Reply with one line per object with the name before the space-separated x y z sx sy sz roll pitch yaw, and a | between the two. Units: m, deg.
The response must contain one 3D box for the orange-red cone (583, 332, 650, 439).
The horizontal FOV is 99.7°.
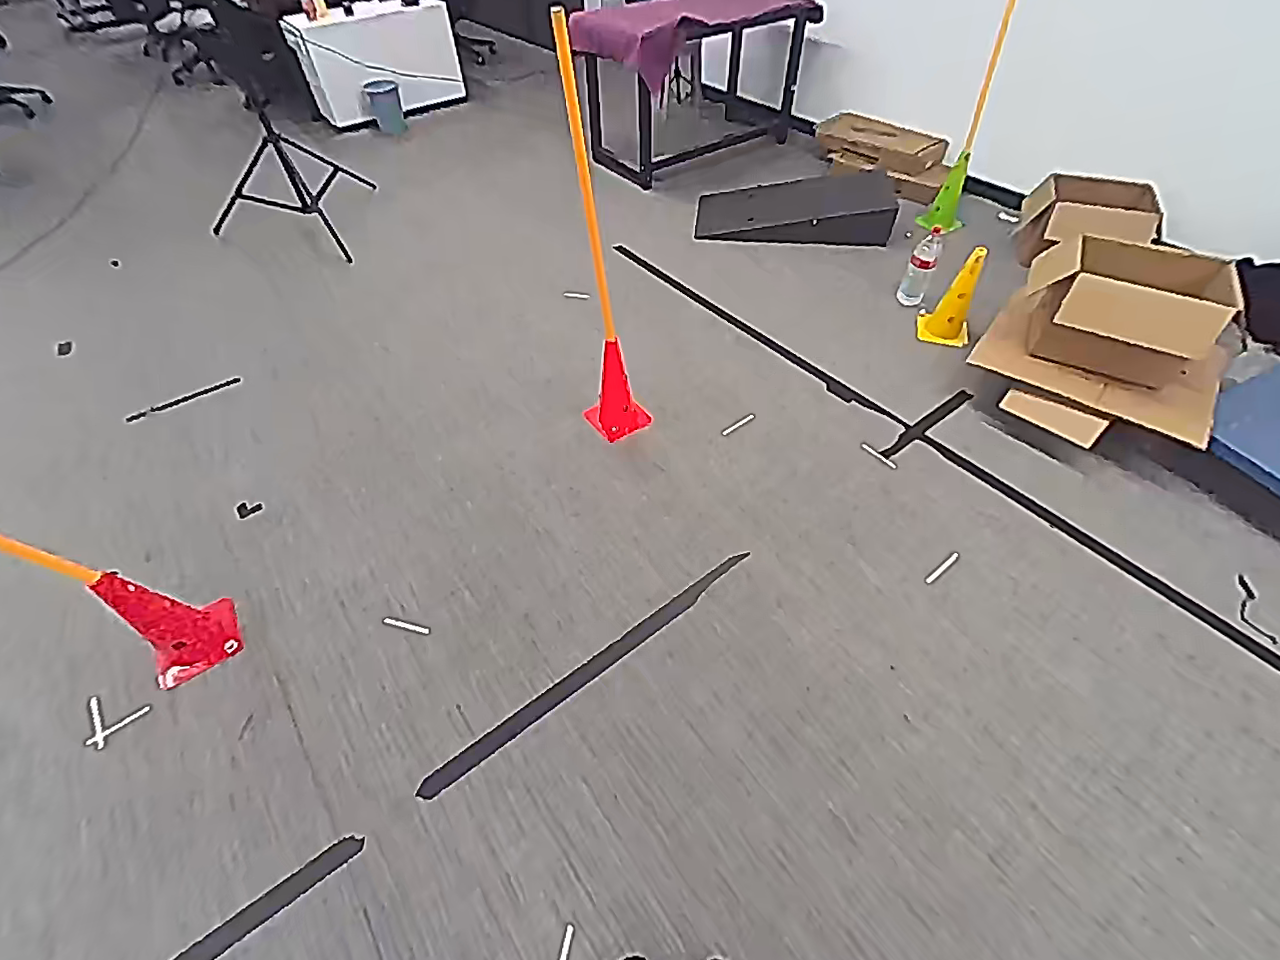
orange-red cone | -0.088 -0.350 1.858 0.199 0.360 0.198 -28 56 -21
